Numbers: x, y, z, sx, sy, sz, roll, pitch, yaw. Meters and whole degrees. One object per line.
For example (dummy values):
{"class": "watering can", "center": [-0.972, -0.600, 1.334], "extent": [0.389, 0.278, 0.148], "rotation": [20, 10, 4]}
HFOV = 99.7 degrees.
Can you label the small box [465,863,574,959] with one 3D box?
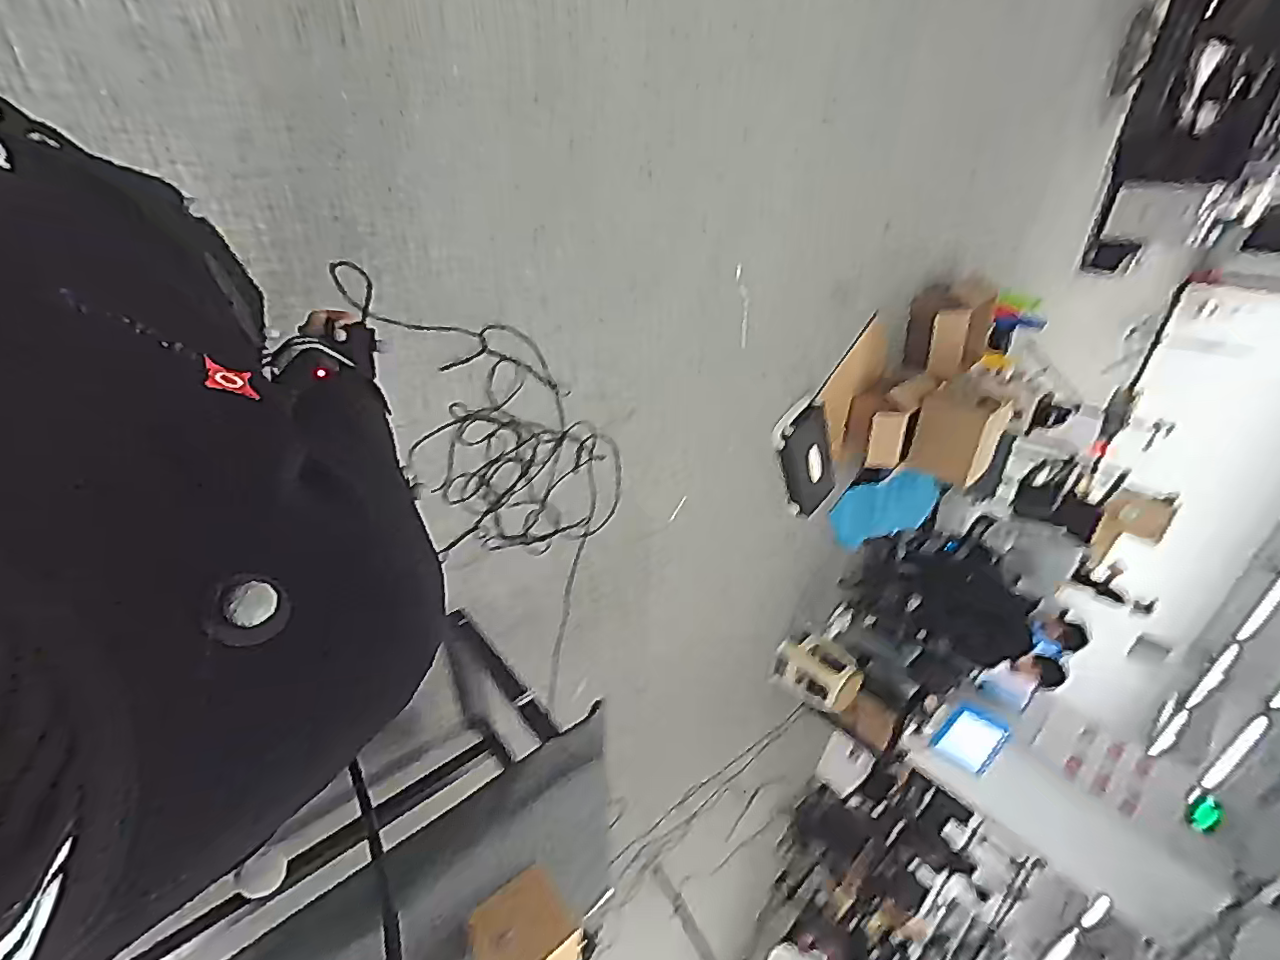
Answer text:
{"class": "small box", "center": [-0.259, 0.978, 1.145], "extent": [0.179, 0.176, 0.168], "rotation": [-19, 126, -39]}
